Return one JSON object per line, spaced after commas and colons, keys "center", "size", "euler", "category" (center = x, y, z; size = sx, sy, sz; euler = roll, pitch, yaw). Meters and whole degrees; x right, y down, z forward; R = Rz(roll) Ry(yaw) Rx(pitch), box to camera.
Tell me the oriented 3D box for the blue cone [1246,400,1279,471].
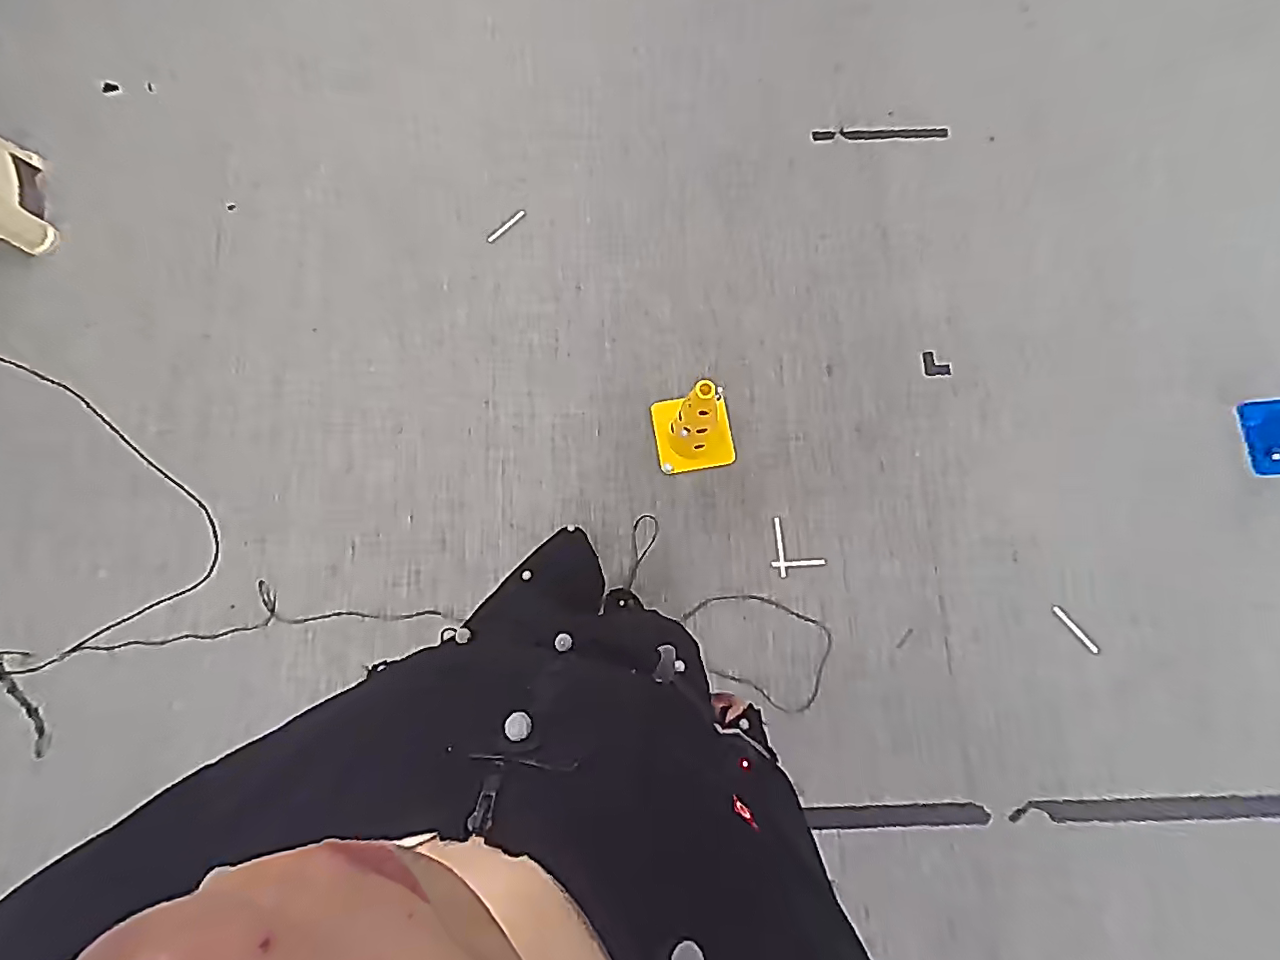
{"center": [1.679, -0.148, 1.237], "size": [0.193, 0.380, 0.192], "euler": [-2, 79, 1], "category": "blue cone"}
